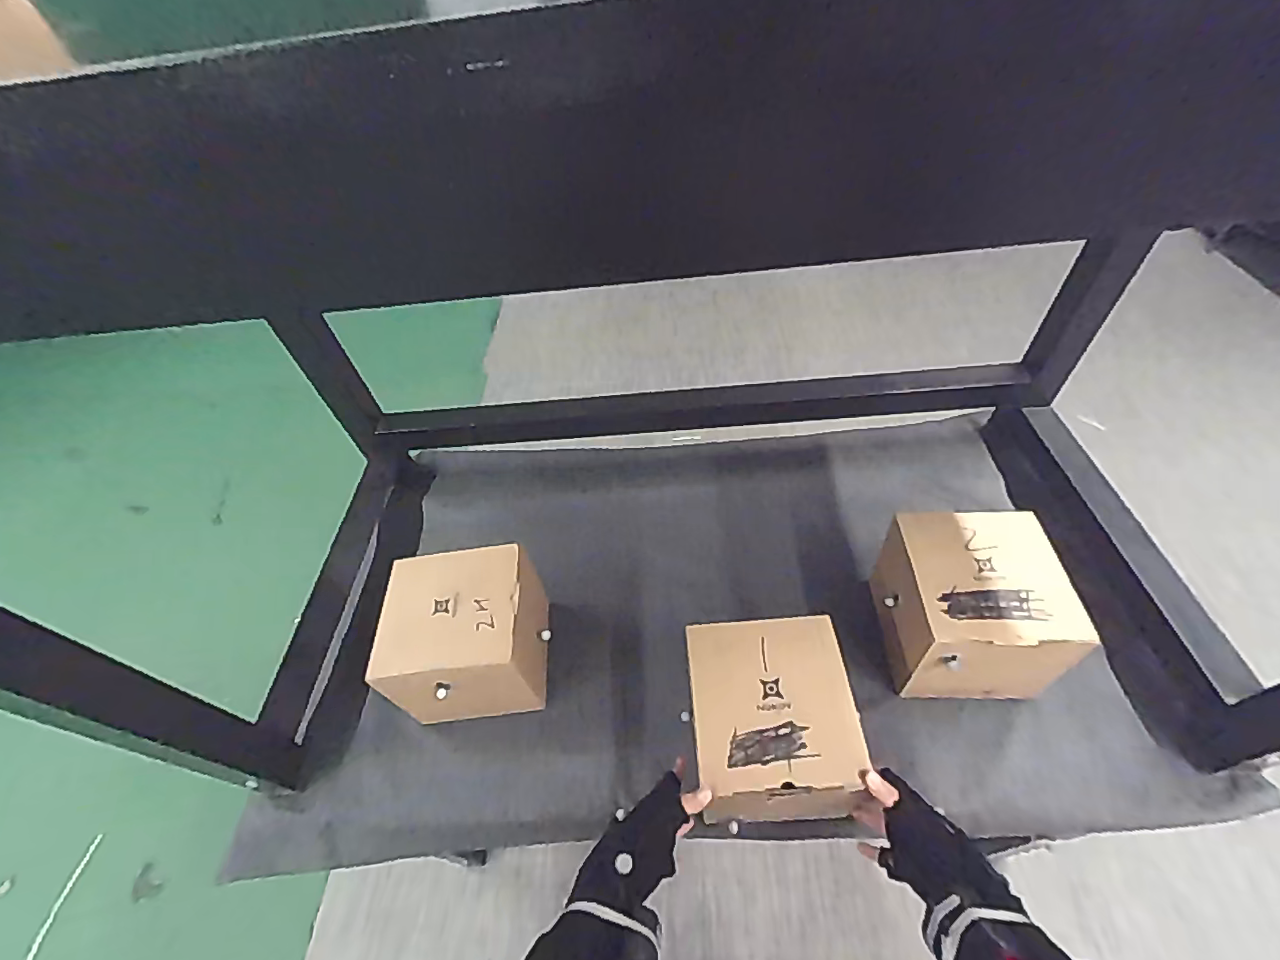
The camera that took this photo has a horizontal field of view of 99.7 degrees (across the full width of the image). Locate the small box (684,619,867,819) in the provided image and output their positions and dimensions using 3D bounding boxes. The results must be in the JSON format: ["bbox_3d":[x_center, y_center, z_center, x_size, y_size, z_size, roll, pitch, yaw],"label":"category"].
[{"bbox_3d":[0.142,0.282,0.626,0.168,0.176,0.179,-5,49,4],"label":"small box"}]

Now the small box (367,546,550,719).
[{"bbox_3d":[-0.231,0.213,0.739,0.179,0.176,0.168,-7,50,2],"label":"small box"}]
